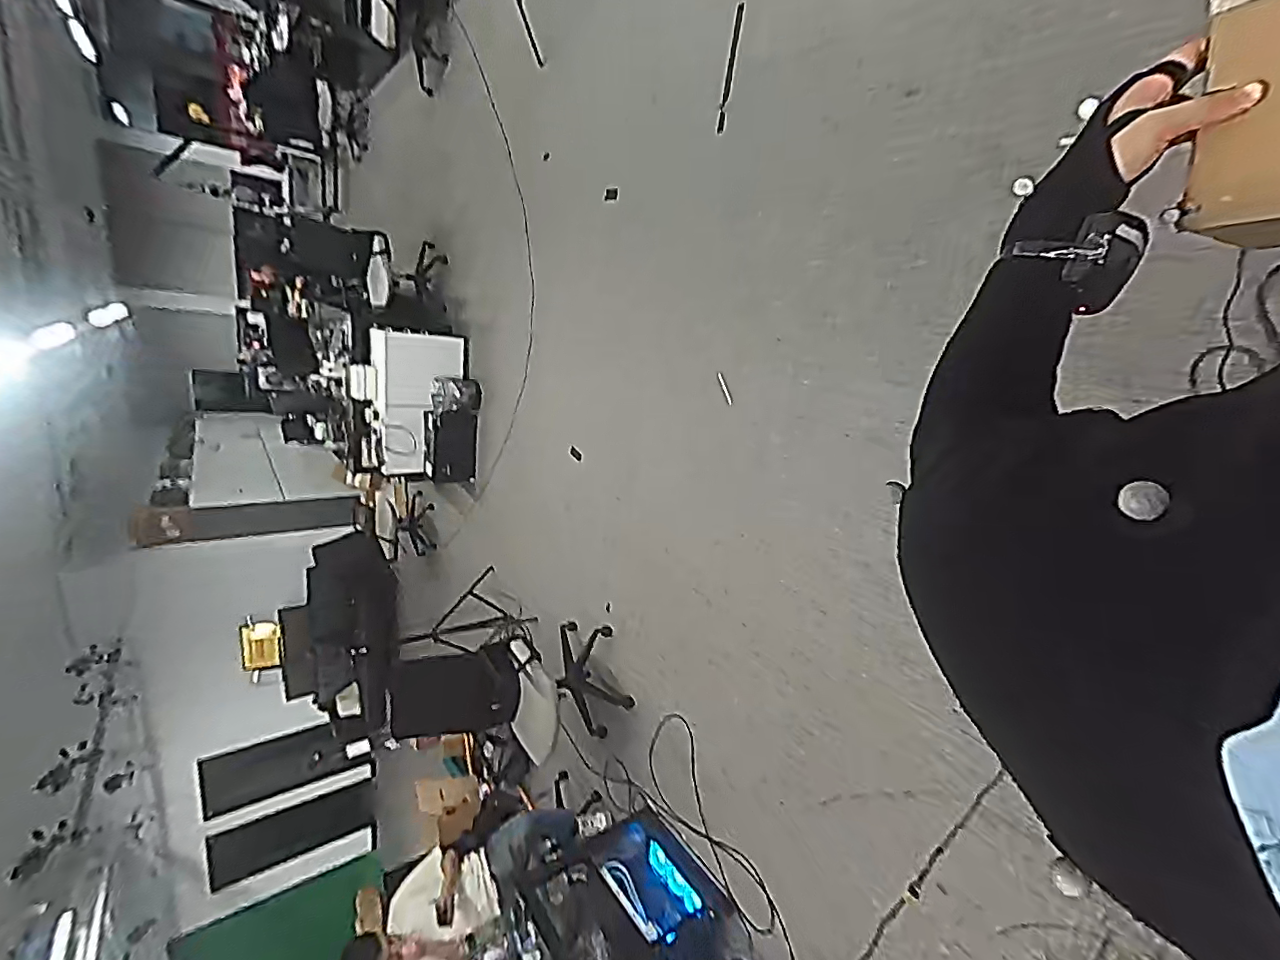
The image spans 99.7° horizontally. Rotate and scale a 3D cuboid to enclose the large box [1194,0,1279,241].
[{"bbox_3d":[0.662,-0.346,0.312,0.408,0.320,0.320,15,112,54],"label":"large box"}]
